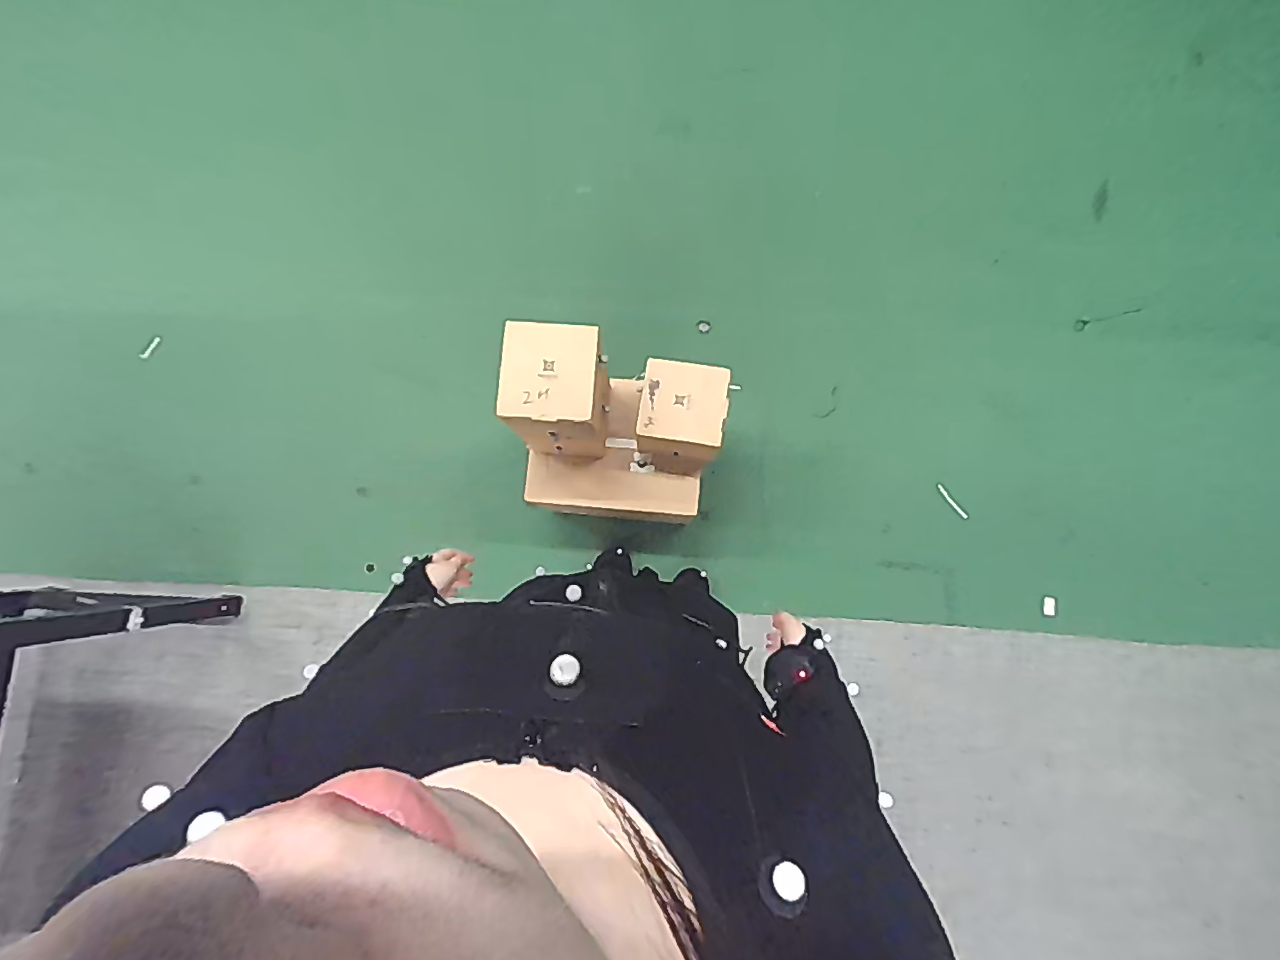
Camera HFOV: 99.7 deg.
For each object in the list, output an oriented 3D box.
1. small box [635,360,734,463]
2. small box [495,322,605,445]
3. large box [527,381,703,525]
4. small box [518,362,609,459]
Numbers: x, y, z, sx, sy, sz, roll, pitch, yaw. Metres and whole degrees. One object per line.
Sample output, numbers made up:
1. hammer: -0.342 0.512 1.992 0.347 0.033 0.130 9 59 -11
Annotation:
1. small box: 0.091 -0.137 1.157 0.179 0.176 0.168 10 81 3
2. small box: -0.157 -0.172 1.003 0.168 0.176 0.179 4 82 1
3. large box: -0.052 -0.058 1.396 0.408 0.320 0.320 5 83 1
4. small box: -0.157 -0.151 1.167 0.168 0.176 0.179 5 82 1
